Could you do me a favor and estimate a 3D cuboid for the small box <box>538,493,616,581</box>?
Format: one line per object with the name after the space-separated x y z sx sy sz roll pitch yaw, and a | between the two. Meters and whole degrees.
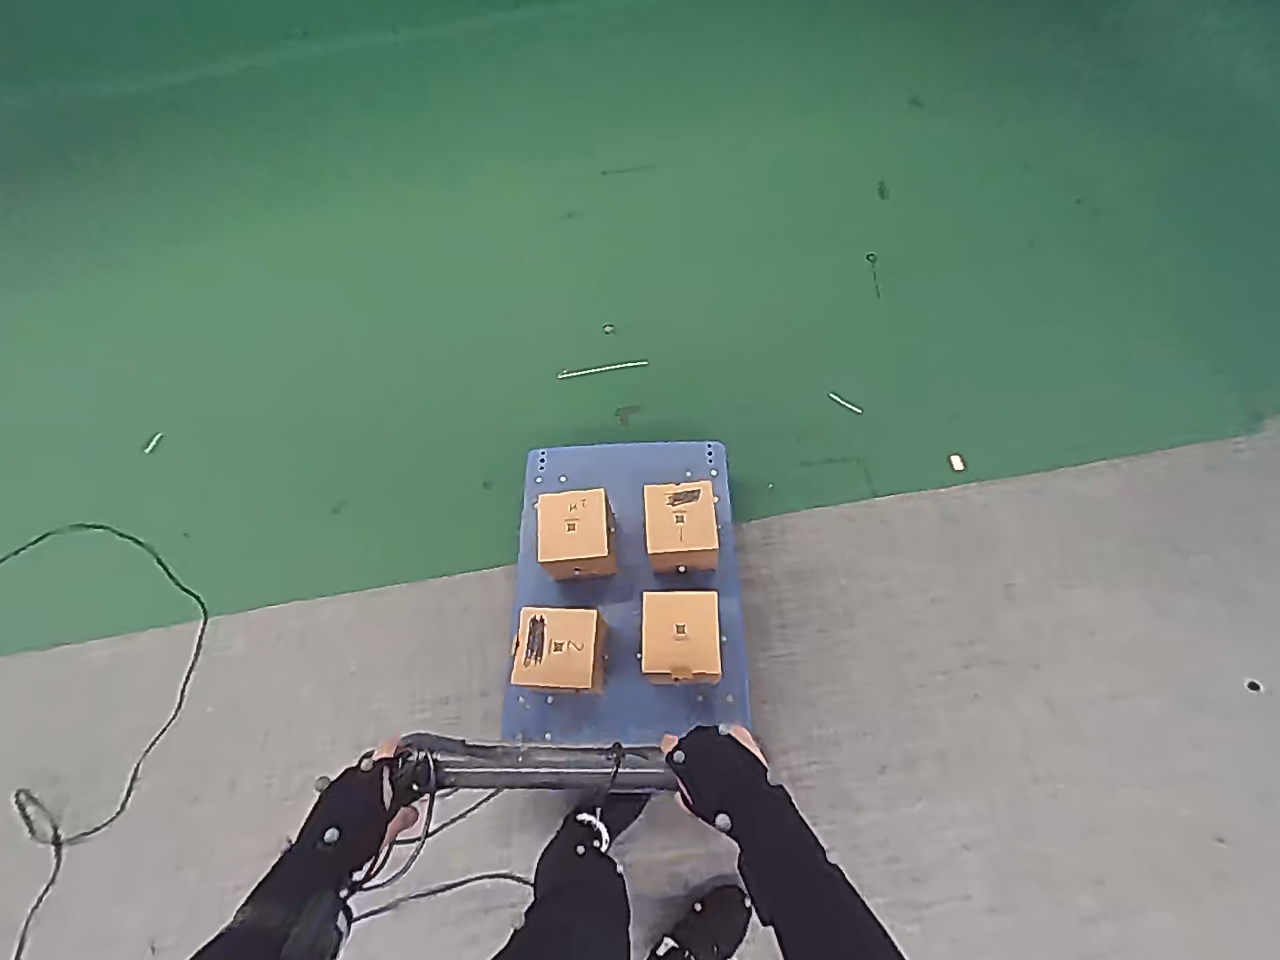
-0.153 0.149 1.353 0.168 0.176 0.179 -6 65 2 | small box

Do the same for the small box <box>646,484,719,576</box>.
0.103 0.127 1.338 0.168 0.176 0.179 -5 65 4 | small box

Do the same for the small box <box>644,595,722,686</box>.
0.096 0.366 1.224 0.168 0.176 0.179 -2 65 5 | small box
